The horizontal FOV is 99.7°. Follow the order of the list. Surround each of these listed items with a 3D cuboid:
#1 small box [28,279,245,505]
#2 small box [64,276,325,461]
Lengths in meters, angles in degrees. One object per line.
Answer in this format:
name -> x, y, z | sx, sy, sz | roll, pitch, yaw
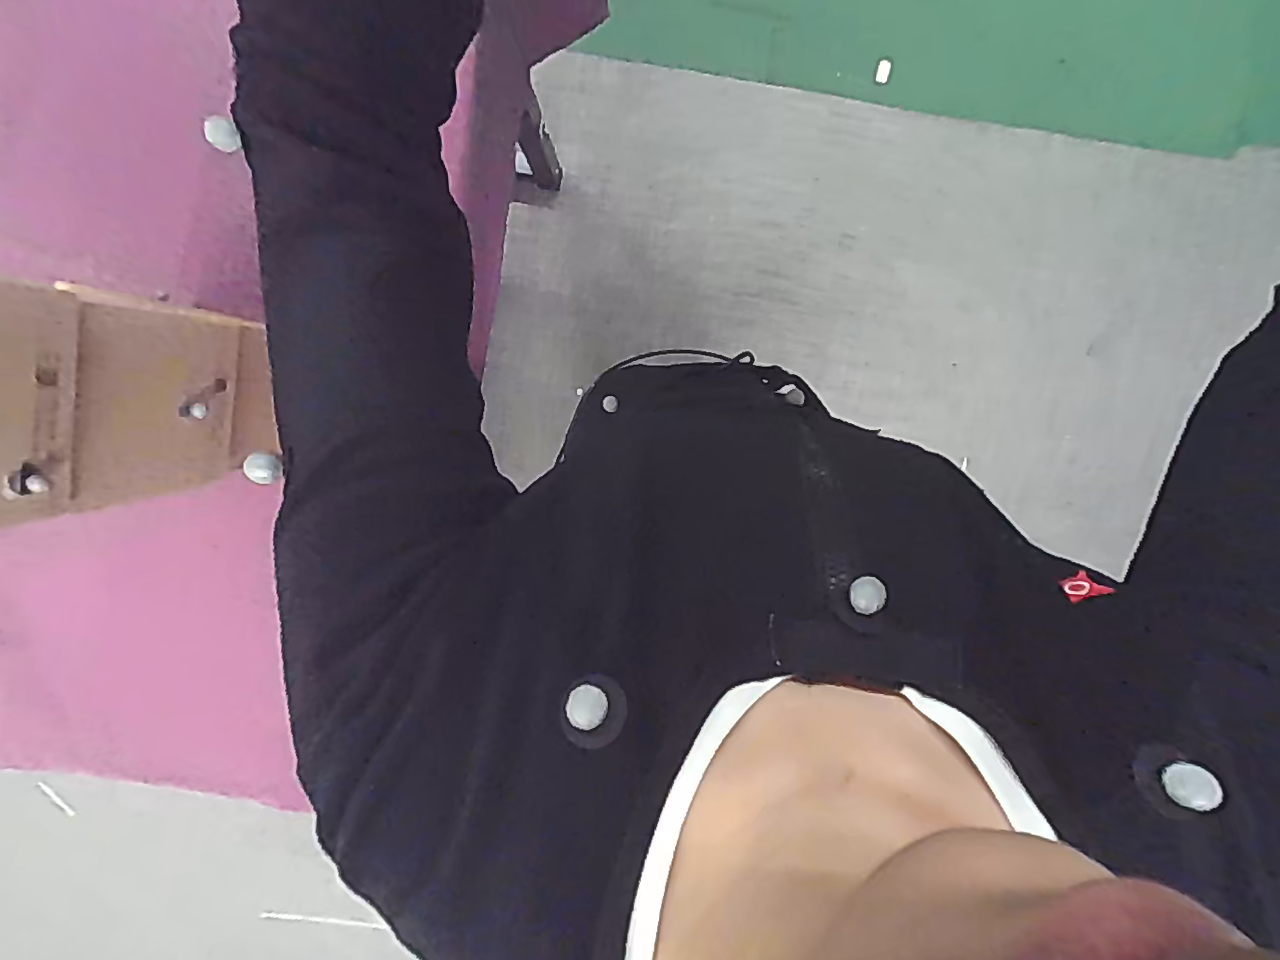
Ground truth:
small box -> -0.500, -0.088, 0.475 | 0.179, 0.176, 0.168 | 12, 99, -2
small box -> -0.514, -0.120, 0.636 | 0.179, 0.176, 0.168 | 13, 99, -2
